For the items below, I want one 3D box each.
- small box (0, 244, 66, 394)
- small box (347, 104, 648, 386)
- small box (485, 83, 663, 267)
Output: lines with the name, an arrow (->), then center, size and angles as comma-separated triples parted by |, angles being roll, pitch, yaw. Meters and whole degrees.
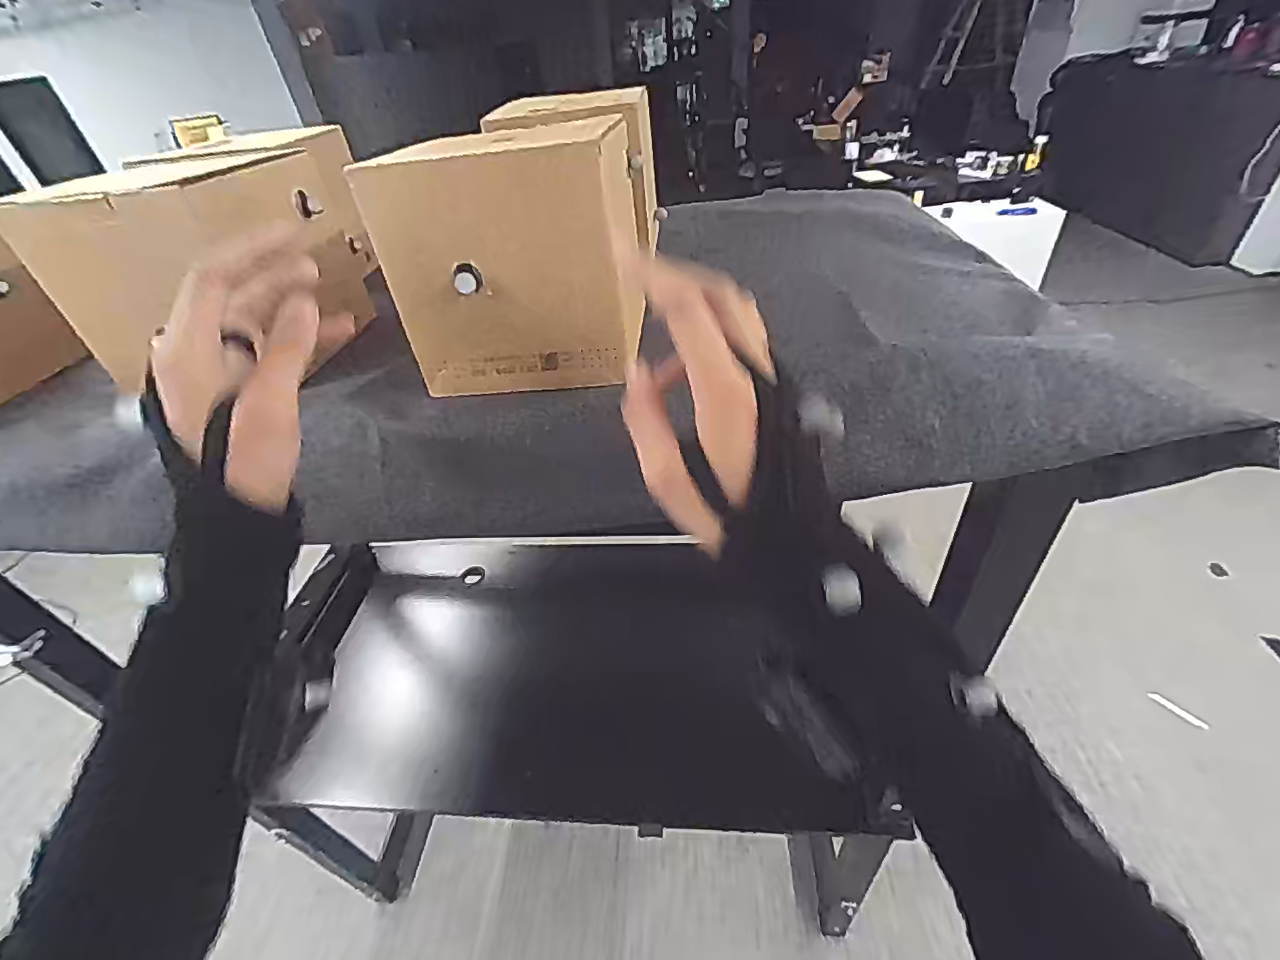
small box -> -0.695, -0.147, 0.483 | 0.168, 0.176, 0.179 | -4, 39, 5
small box -> -0.085, -0.183, 0.432 | 0.168, 0.176, 0.179 | -3, 37, 6
small box -> -0.063, -0.359, 0.646 | 0.168, 0.176, 0.179 | -3, 39, 7
